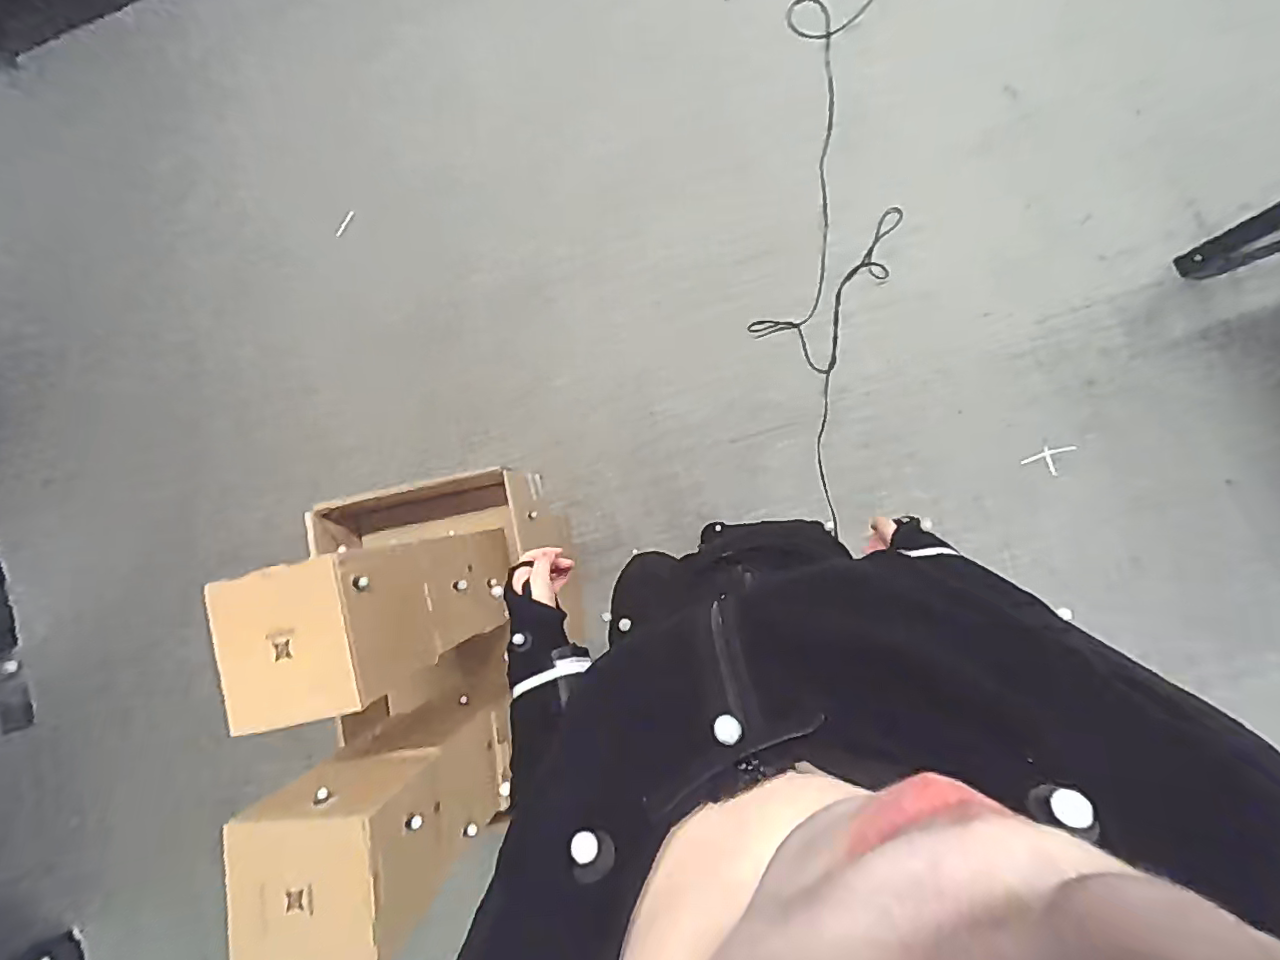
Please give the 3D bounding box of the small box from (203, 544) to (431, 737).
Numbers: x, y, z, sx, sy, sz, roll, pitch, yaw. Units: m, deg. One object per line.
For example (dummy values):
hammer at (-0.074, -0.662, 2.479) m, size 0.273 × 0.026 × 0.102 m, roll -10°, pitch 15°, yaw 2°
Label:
small box at (-0.387, 0.188, 0.676) m, size 0.168 × 0.176 × 0.179 m, roll -14°, pitch 86°, yaw 7°

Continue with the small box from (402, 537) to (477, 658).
small box at (-0.370, 0.189, 0.839) m, size 0.179 × 0.176 × 0.168 m, roll -15°, pitch 86°, yaw 5°

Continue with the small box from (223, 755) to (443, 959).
small box at (-0.356, 0.455, 0.659) m, size 0.179 × 0.176 × 0.168 m, roll -7°, pitch 85°, yaw 7°
